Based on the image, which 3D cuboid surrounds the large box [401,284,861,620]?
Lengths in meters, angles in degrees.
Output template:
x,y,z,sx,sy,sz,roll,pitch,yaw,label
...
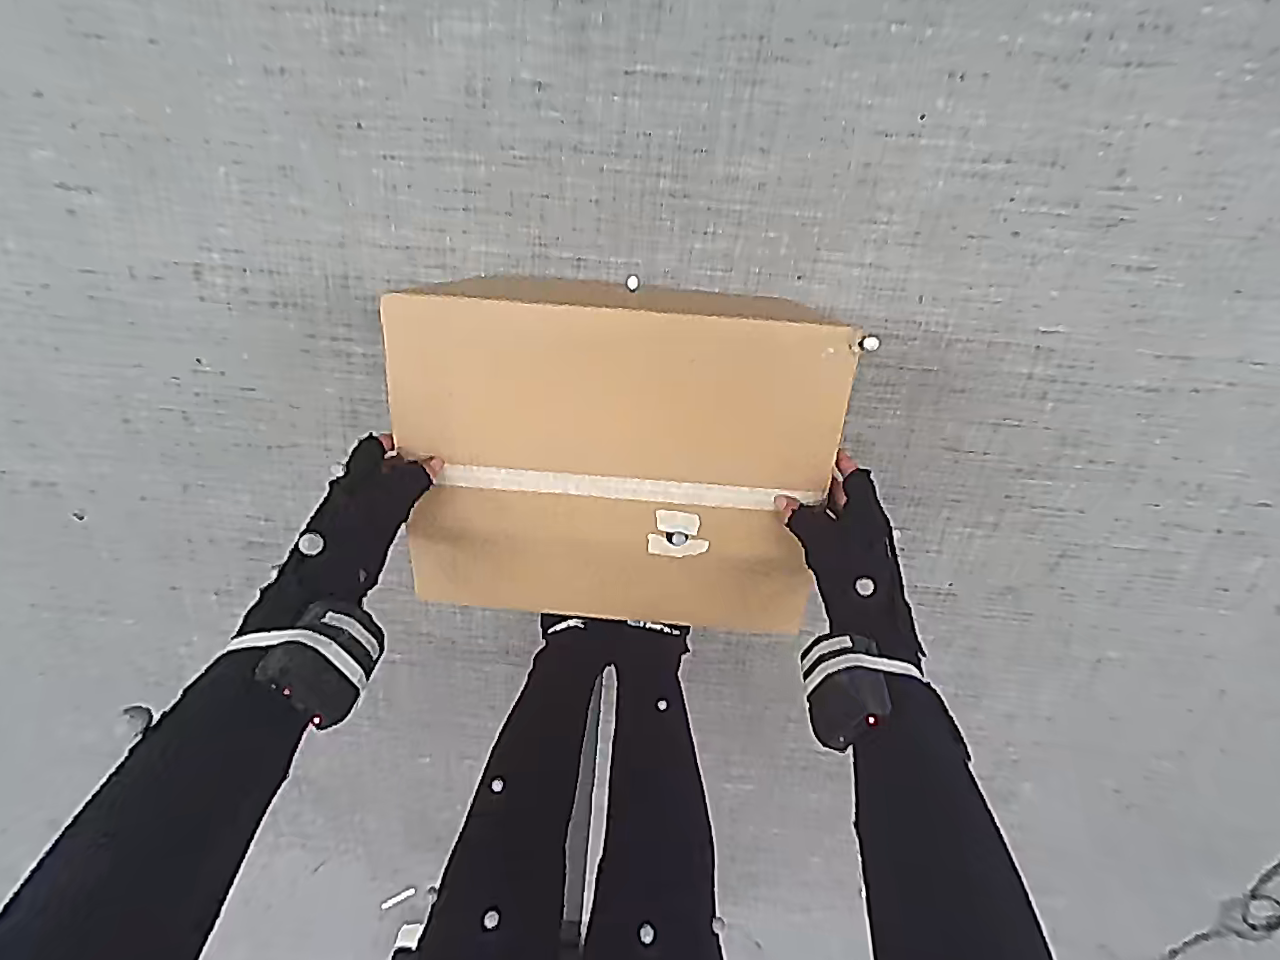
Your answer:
x,y,z,sx,sy,sz,roll,pitch,yaw,label
-0.013,-0.061,0.655,0.408,0.320,0.320,5,114,1,large box
